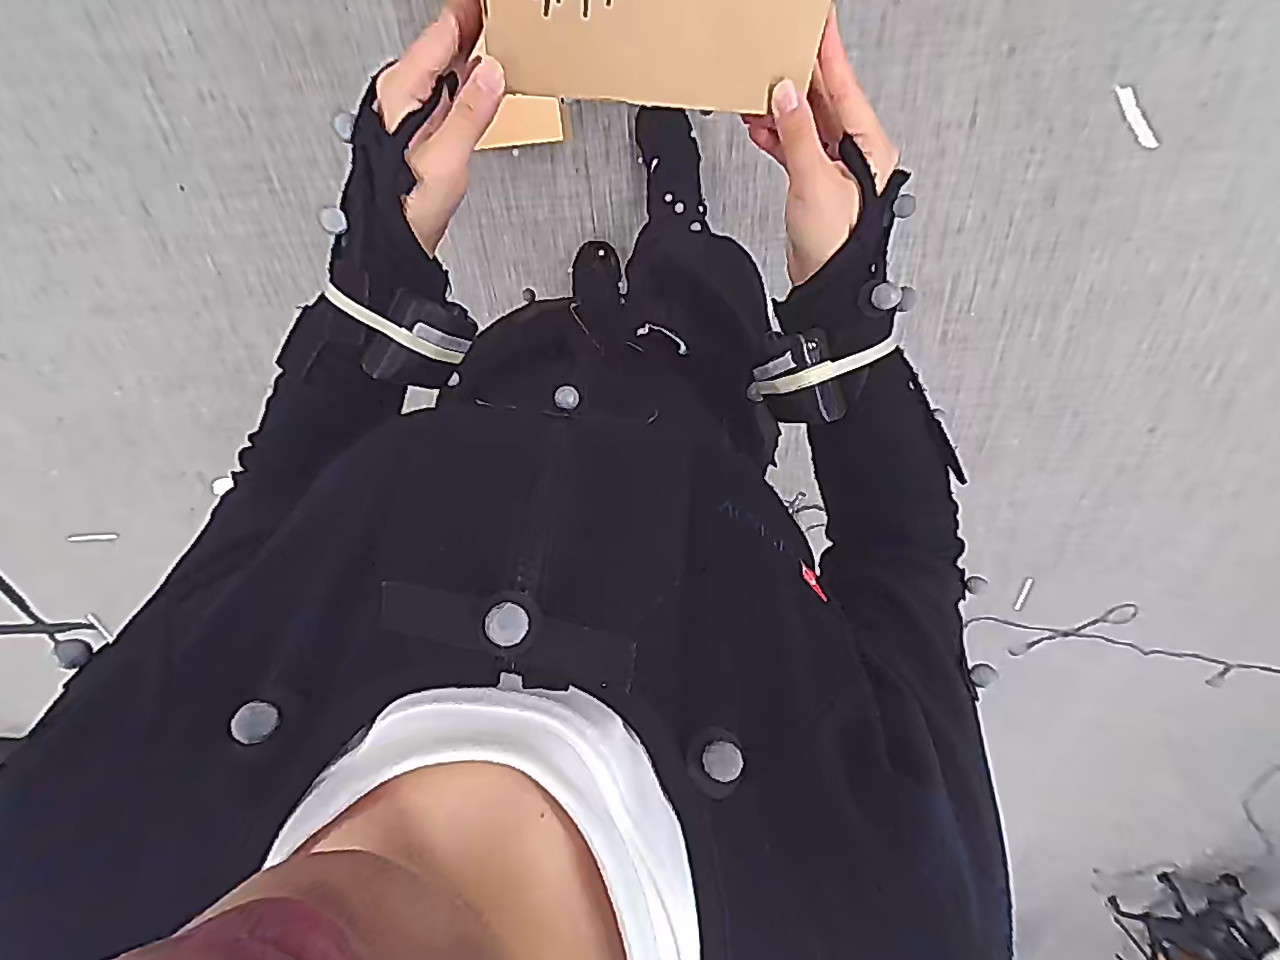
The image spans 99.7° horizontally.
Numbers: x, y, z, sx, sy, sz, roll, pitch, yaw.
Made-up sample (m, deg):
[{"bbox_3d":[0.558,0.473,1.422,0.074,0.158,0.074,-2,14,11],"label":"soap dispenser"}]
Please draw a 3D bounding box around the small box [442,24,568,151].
[{"bbox_3d":[-0.228,-0.699,0.972,0.179,0.176,0.168,-4,124,3],"label":"small box"}]
